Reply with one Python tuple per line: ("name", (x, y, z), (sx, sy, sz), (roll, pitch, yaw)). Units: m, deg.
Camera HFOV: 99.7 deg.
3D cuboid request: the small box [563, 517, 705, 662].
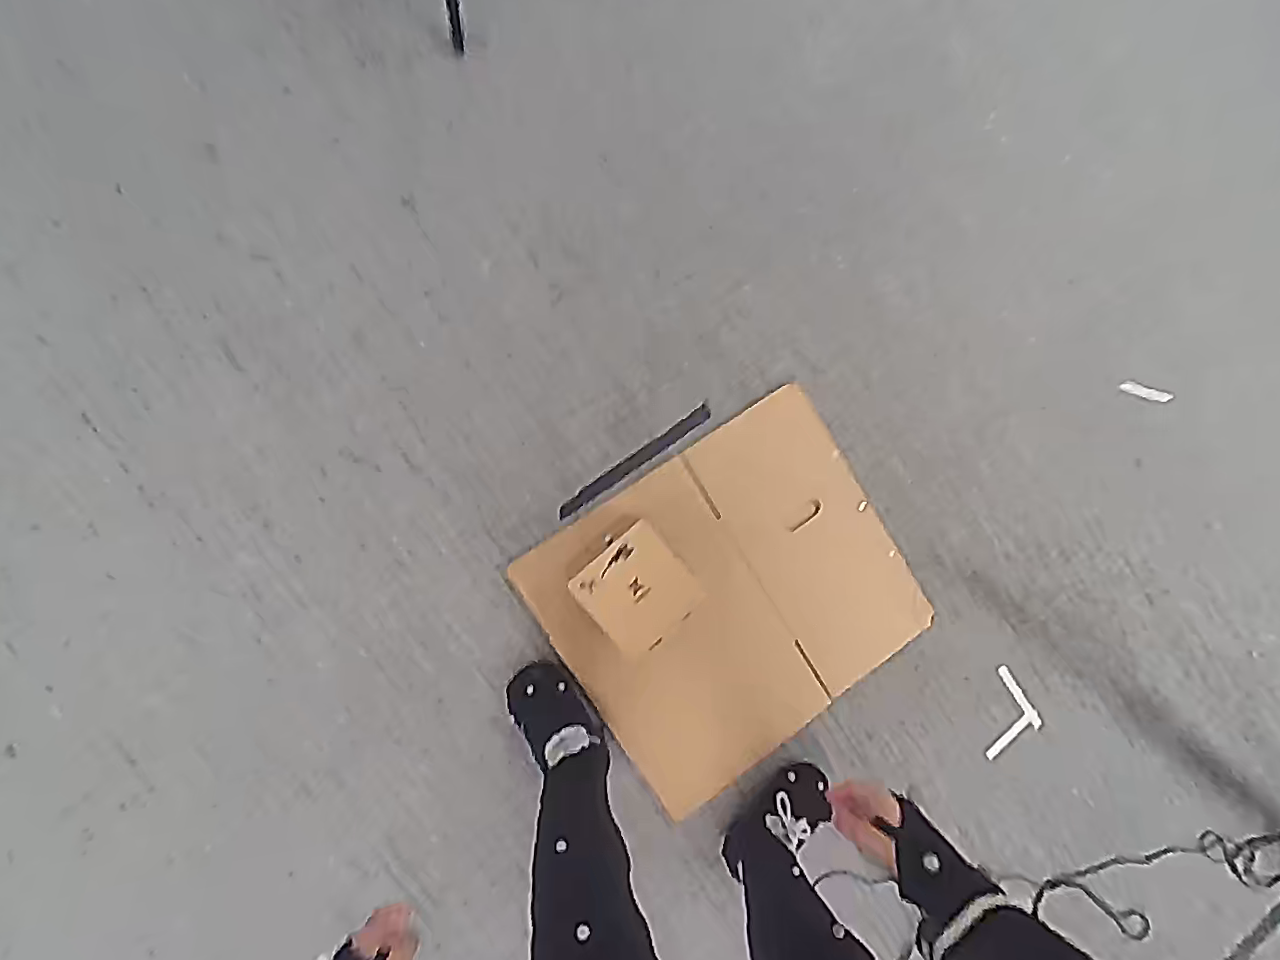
("small box", (-0.018, 0.180, 0.956), (0.168, 0.176, 0.179), (-41, 97, -9))
